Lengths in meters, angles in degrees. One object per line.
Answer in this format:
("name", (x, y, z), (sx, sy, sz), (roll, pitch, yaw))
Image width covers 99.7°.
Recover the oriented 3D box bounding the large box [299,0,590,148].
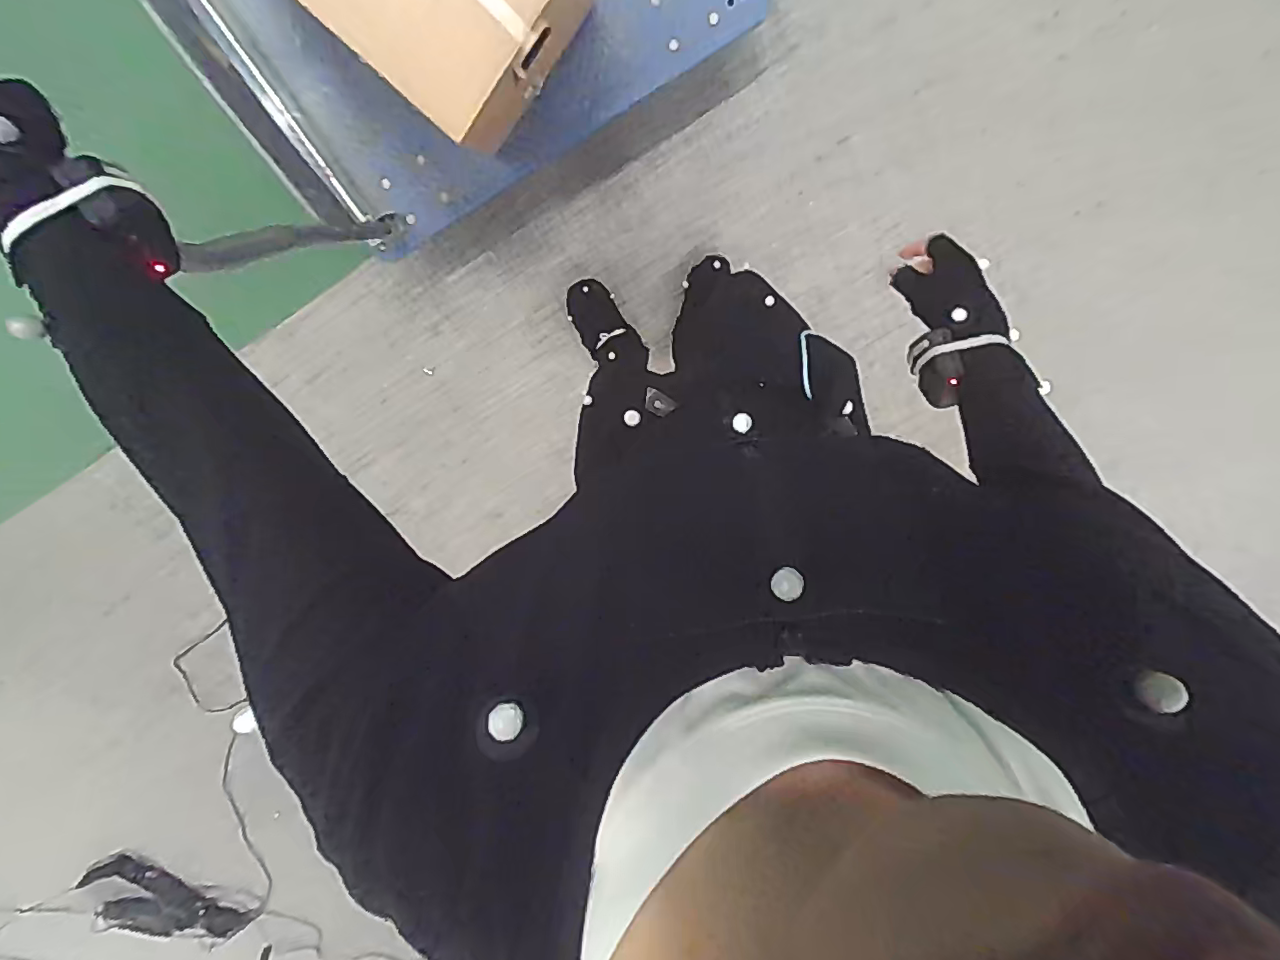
("large box", (-0.312, -0.756, 0.761), (0.408, 0.320, 0.320), (37, 109, -21))
